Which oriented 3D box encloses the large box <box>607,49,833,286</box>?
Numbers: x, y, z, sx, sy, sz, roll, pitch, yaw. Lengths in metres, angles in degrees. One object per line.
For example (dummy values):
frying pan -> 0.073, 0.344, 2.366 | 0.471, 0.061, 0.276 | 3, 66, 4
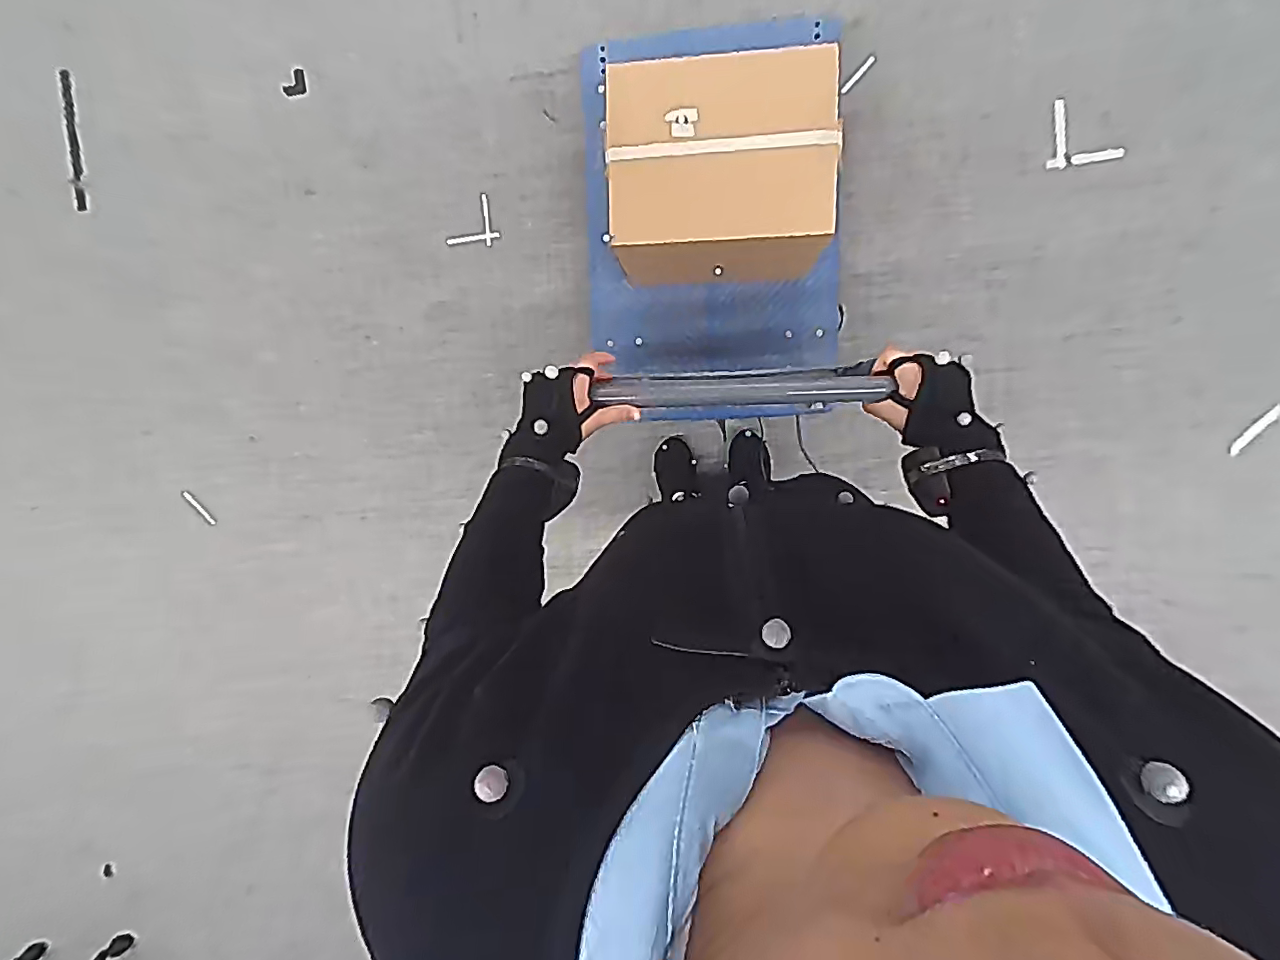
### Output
large box -> 0.162, -0.604, 1.119 | 0.408, 0.320, 0.320 | -1, 95, 8
